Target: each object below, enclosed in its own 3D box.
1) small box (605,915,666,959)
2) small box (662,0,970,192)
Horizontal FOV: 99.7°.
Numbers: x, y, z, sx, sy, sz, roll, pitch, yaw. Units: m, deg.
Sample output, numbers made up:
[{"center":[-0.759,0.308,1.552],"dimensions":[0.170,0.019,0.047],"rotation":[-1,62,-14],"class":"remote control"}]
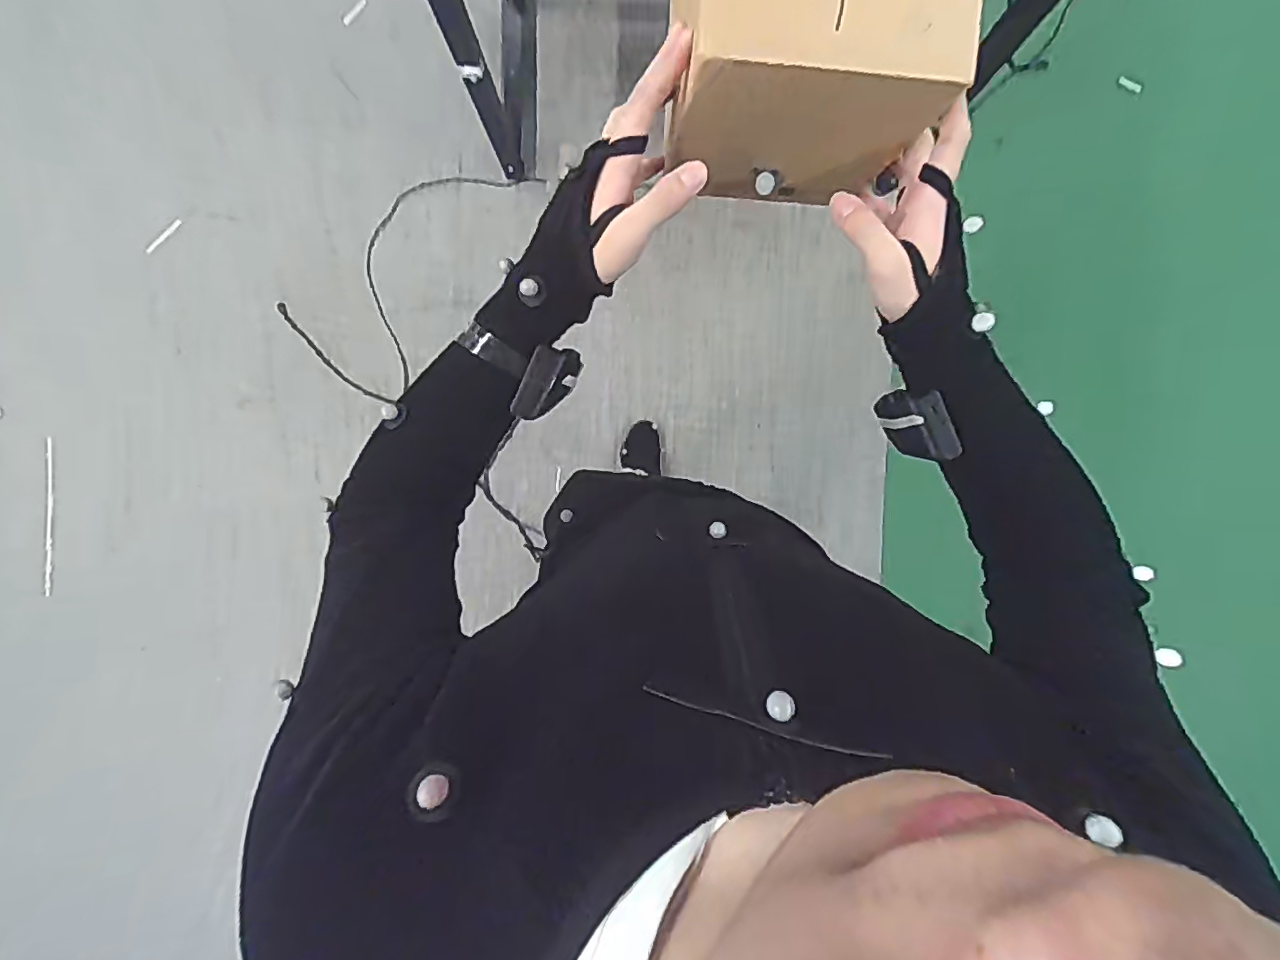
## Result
[{"center":[-0.015,1.359,1.503],"dimensions":[0.168,0.176,0.179],"rotation":[2,90,1],"class":"small box"},{"center":[0.109,-0.339,0.388],"dimensions":[0.168,0.176,0.179],"rotation":[2,95,-5],"class":"small box"}]
